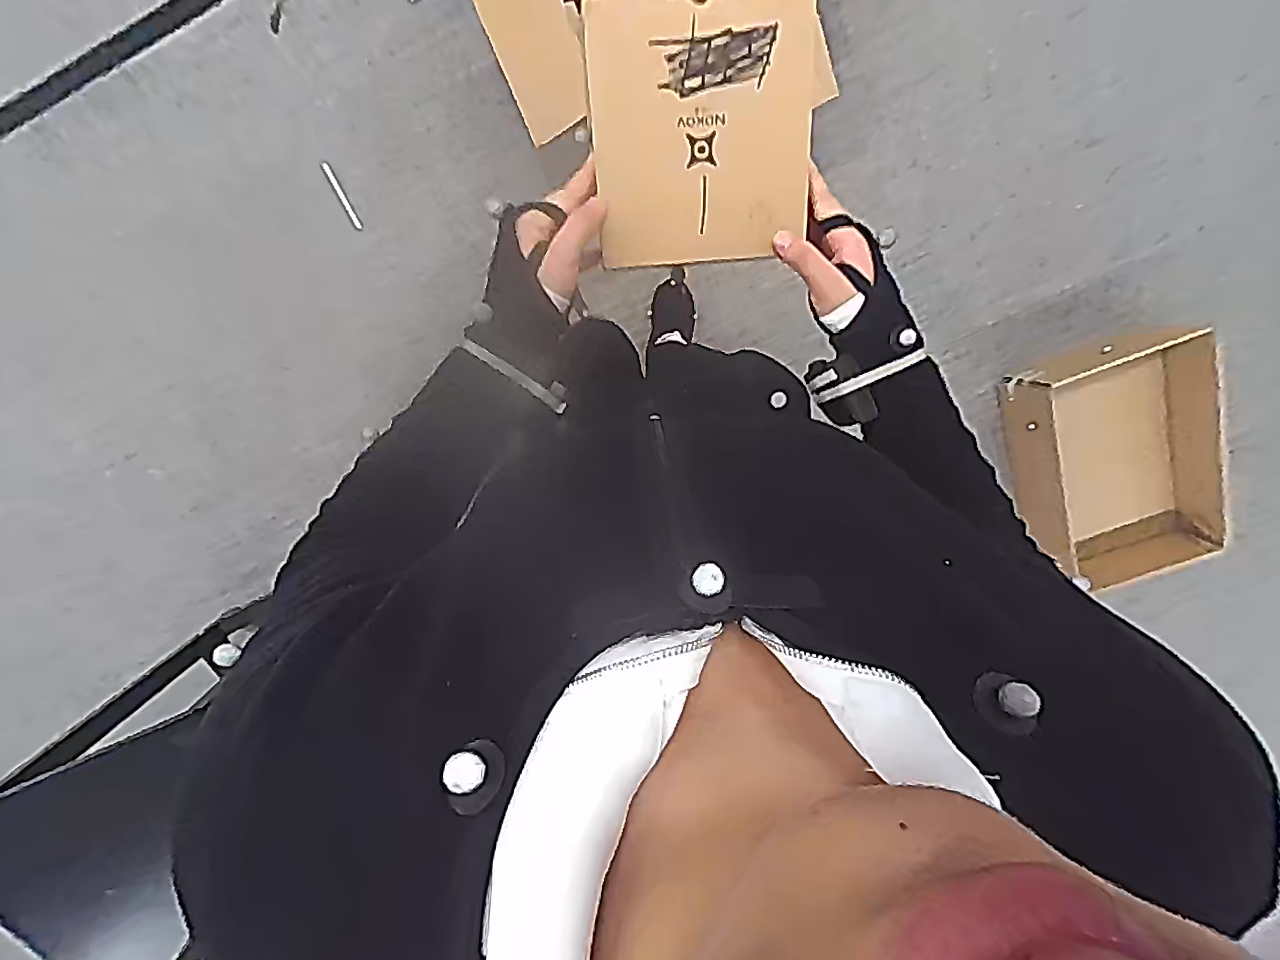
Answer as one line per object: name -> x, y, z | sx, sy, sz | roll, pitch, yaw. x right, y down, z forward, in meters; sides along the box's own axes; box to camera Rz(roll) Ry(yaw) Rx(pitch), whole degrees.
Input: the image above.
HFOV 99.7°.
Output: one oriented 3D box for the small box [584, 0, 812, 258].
small box -> 0.039, -0.297, 0.480 | 0.168, 0.176, 0.179 | -5, 112, -2
